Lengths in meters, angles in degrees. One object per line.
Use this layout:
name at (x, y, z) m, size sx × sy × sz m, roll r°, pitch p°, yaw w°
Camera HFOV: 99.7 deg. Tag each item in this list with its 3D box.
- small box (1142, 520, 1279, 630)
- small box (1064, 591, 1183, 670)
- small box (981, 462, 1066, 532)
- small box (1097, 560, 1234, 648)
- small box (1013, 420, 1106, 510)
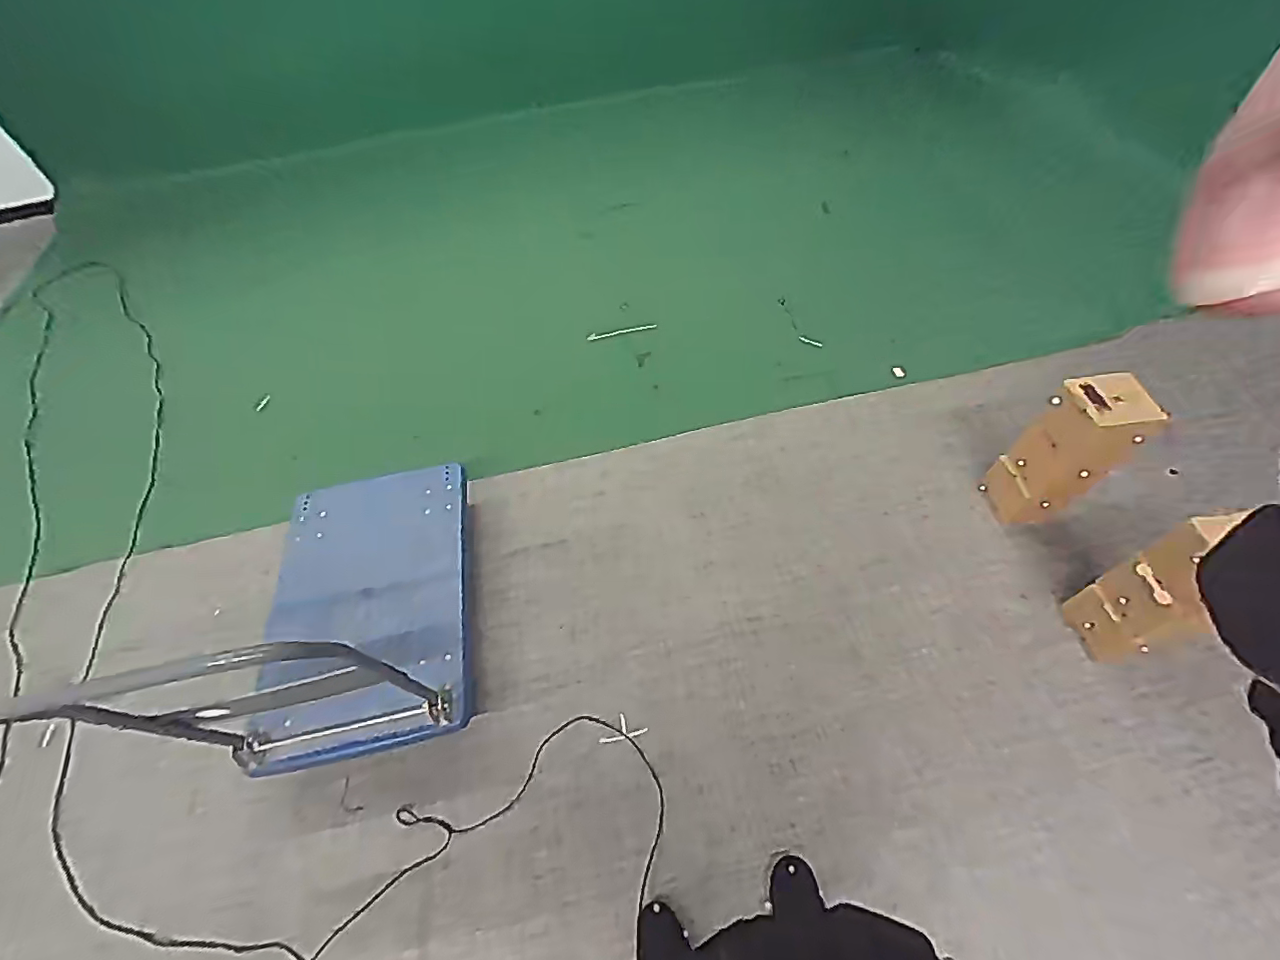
small box at (1.281, 0.210, 1.190) m, size 0.168 × 0.176 × 0.179 m, roll -7°, pitch 54°, yaw 2°
small box at (1.297, 0.398, 1.458) m, size 0.179 × 0.176 × 0.168 m, roll -10°, pitch 54°, yaw -1°
small box at (1.224, 0.053, 1.716) m, size 0.179 × 0.176 × 0.168 m, roll -7°, pitch 54°, yaw -1°
small box at (1.294, 0.300, 1.325) m, size 0.179 × 0.176 × 0.168 m, roll -6°, pitch 53°, yaw 1°
small box at (1.230, -0.043, 1.593) m, size 0.168 × 0.176 × 0.179 m, roll 18°, pitch 57°, yaw 20°
